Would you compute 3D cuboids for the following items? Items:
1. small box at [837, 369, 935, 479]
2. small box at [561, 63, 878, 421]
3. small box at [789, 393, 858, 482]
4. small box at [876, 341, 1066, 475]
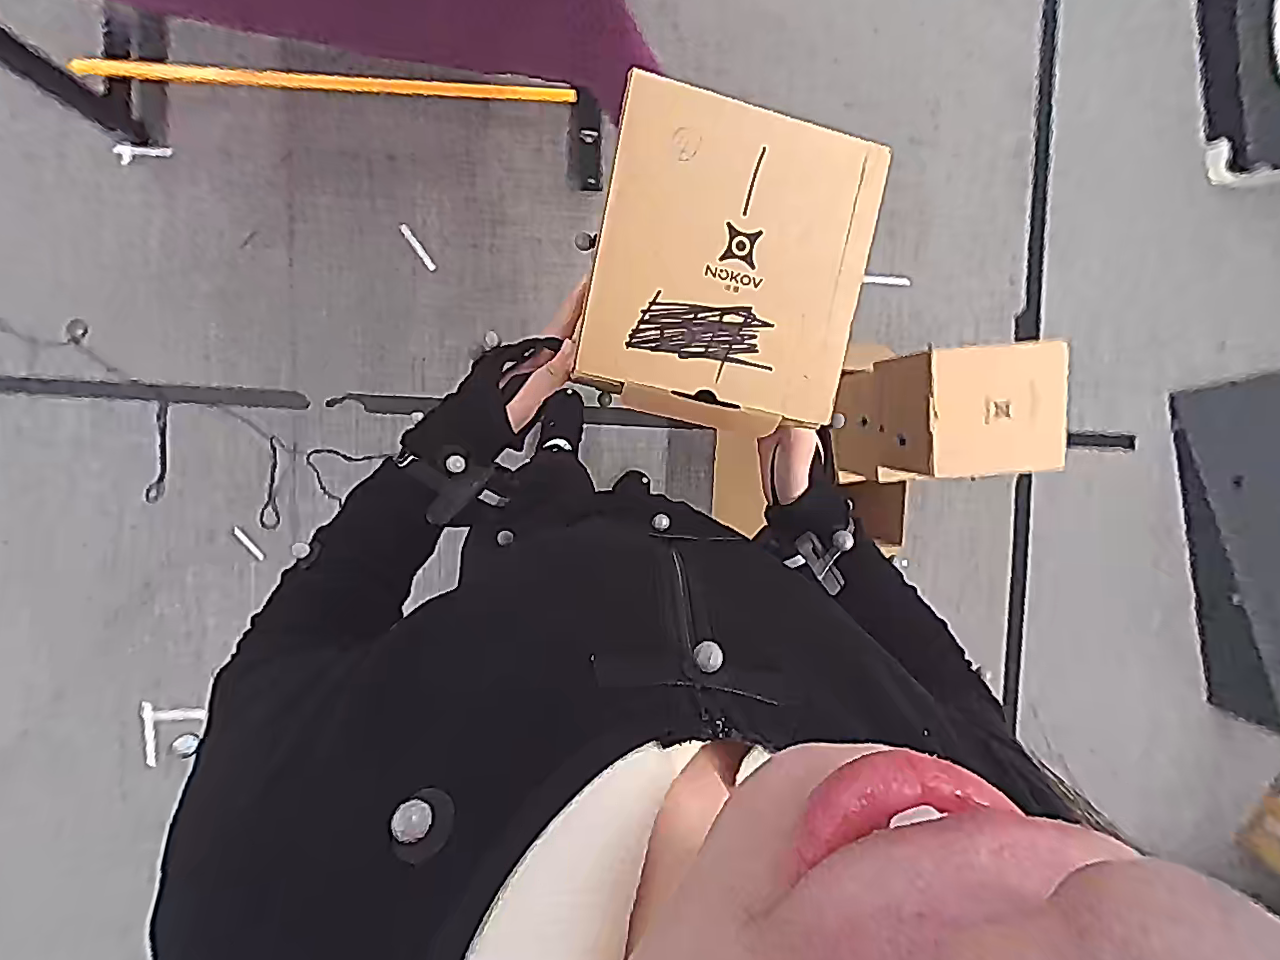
[{"bbox_3d":[0.449,-0.101,0.931,0.168,0.176,0.179,-5,97,0],"label":"small box"},{"bbox_3d":[0.039,-0.147,0.402,0.168,0.176,0.179,10,96,-9],"label":"small box"},{"bbox_3d":[0.464,-0.110,1.261,0.168,0.176,0.179,-19,98,1],"label":"small box"},{"bbox_3d":[0.452,-0.099,0.767,0.179,0.176,0.168,-4,98,-1],"label":"small box"}]
